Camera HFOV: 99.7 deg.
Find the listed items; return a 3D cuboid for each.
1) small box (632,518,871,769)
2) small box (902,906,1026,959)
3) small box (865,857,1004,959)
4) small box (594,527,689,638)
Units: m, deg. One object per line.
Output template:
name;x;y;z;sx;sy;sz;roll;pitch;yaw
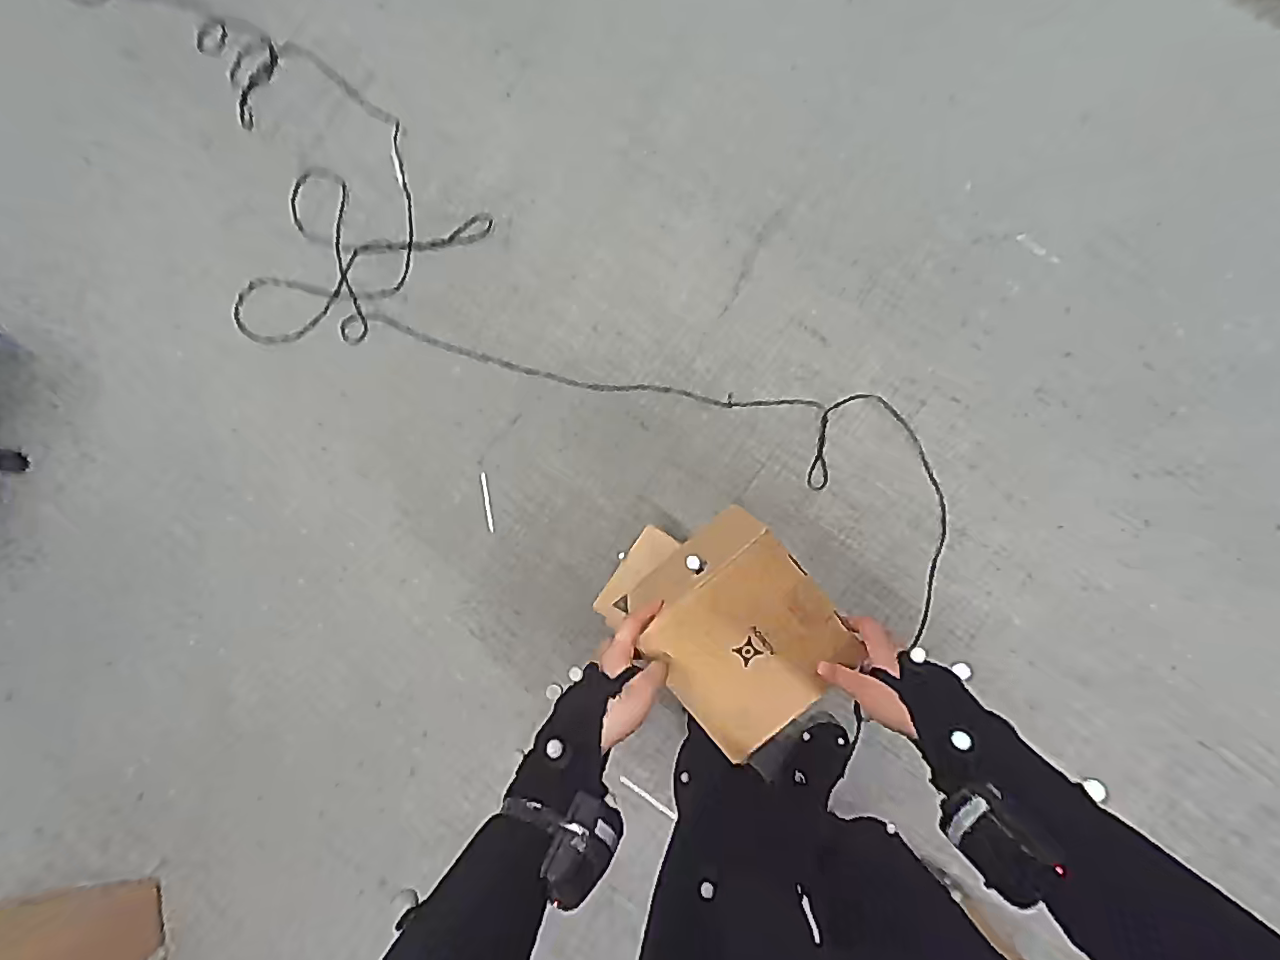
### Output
small box;0.108;0.165;0.601;0.179;0.176;0.168;-40;96;1
small box;0.575;0.880;0.913;0.179;0.176;0.168;30;90;5
small box;0.583;0.901;1.075;0.179;0.176;0.168;33;89;6
small box;0.039;0.205;0.999;0.168;0.176;0.179;34;87;6
